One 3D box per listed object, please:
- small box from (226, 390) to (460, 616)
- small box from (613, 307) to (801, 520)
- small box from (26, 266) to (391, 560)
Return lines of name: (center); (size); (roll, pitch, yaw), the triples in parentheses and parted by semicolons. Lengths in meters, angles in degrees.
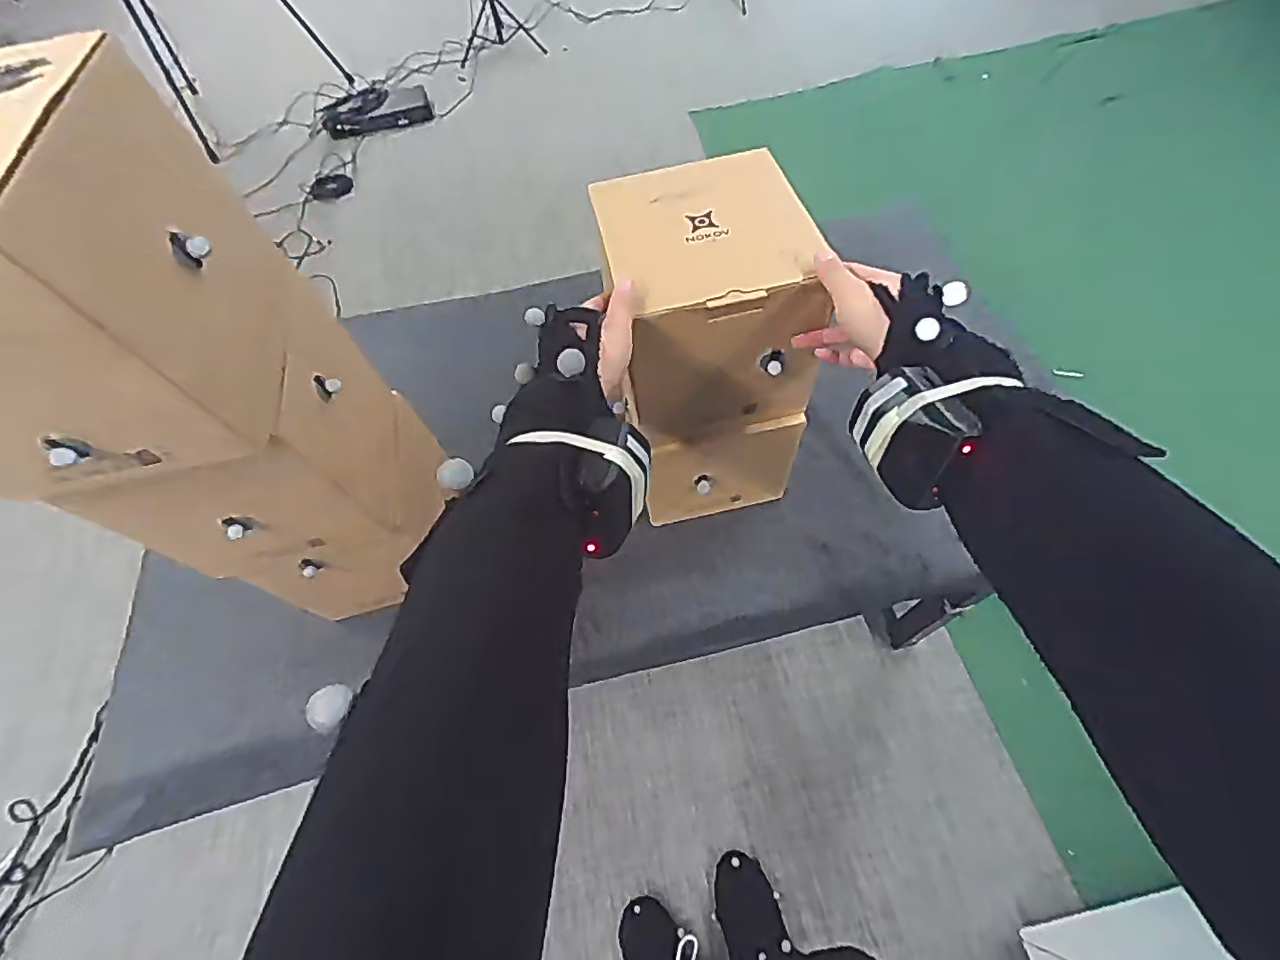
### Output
small box: (-0.314, 0.031, 0.609); (0.168, 0.176, 0.179); (-14, 59, -3)
small box: (0.071, -0.067, 0.634); (0.168, 0.176, 0.179); (-12, 59, -2)
small box: (-0.331, -0.044, 0.463); (0.168, 0.176, 0.179); (-13, 60, -3)
